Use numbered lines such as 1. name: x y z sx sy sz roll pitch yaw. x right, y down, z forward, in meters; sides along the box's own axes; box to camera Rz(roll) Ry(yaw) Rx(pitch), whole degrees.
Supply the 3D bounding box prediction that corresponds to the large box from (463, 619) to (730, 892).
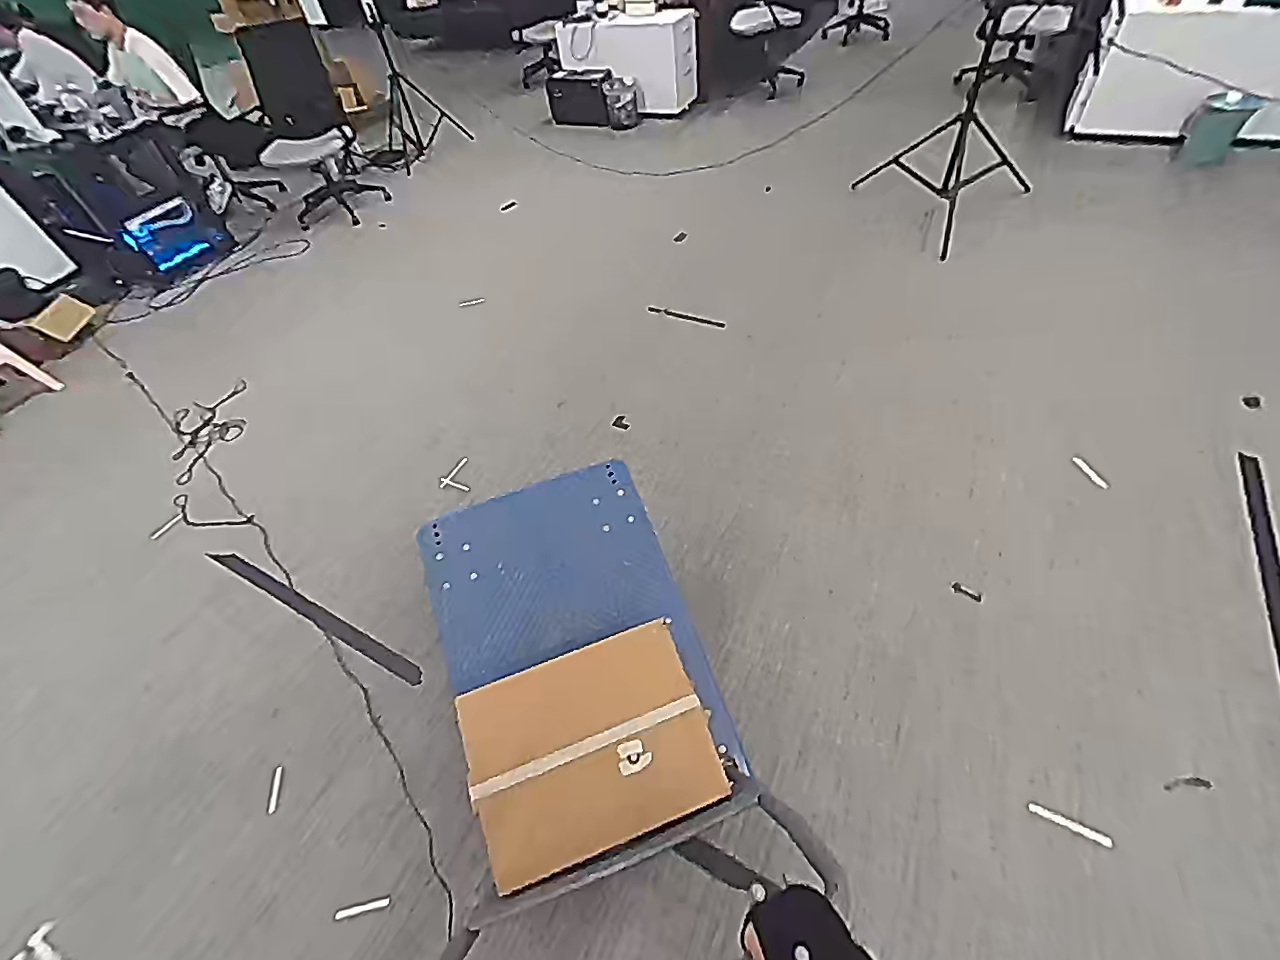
1. large box: -0.085 0.526 1.082 0.408 0.320 0.320 -20 68 -10
